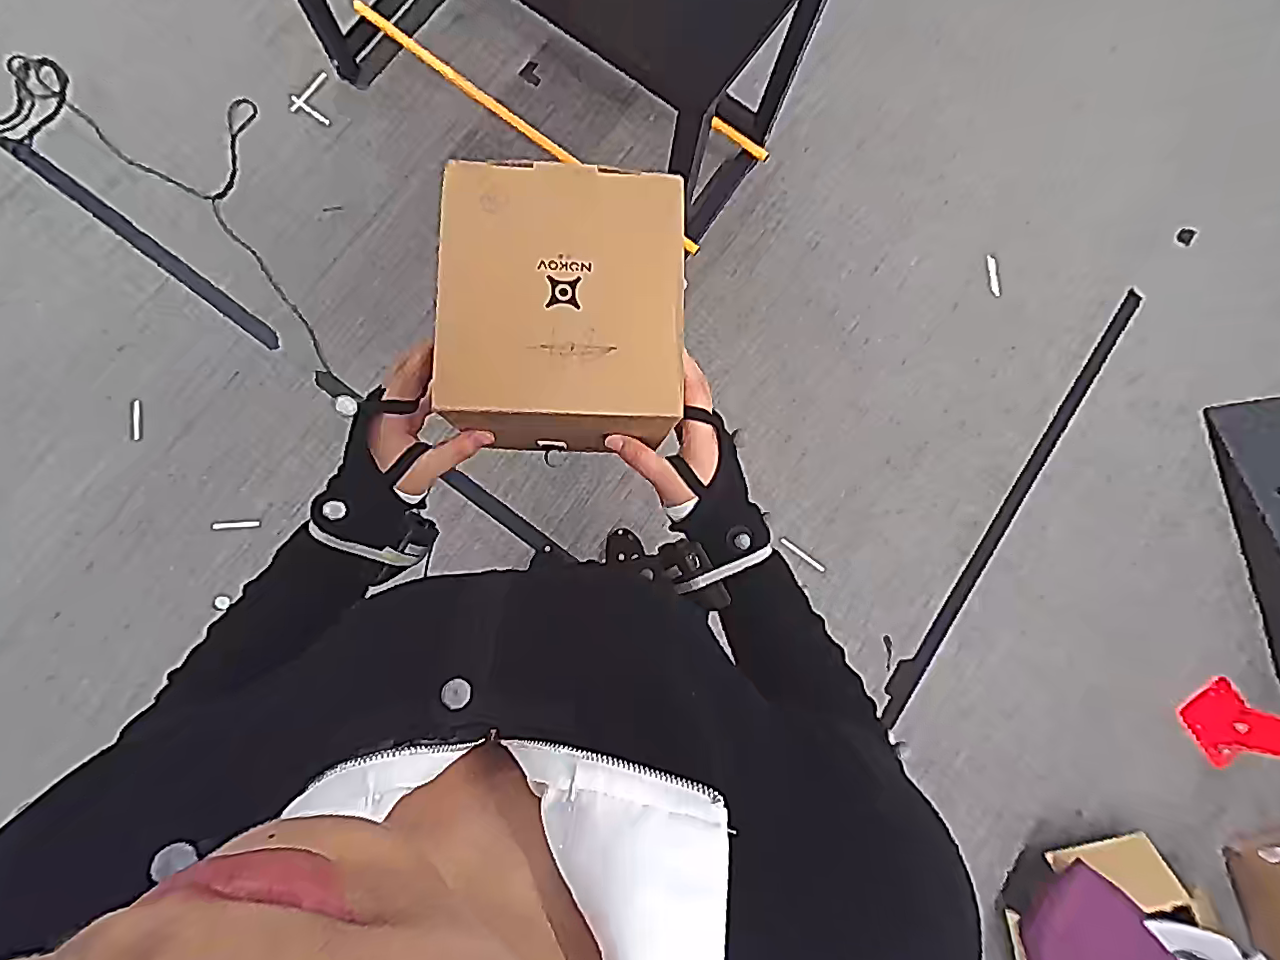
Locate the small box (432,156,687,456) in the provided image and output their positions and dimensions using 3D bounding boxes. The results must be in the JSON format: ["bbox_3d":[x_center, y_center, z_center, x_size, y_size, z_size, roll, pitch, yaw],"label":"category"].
[{"bbox_3d":[-0.058,-0.121,0.440,0.168,0.176,0.179,1,84,-5],"label":"small box"}]
